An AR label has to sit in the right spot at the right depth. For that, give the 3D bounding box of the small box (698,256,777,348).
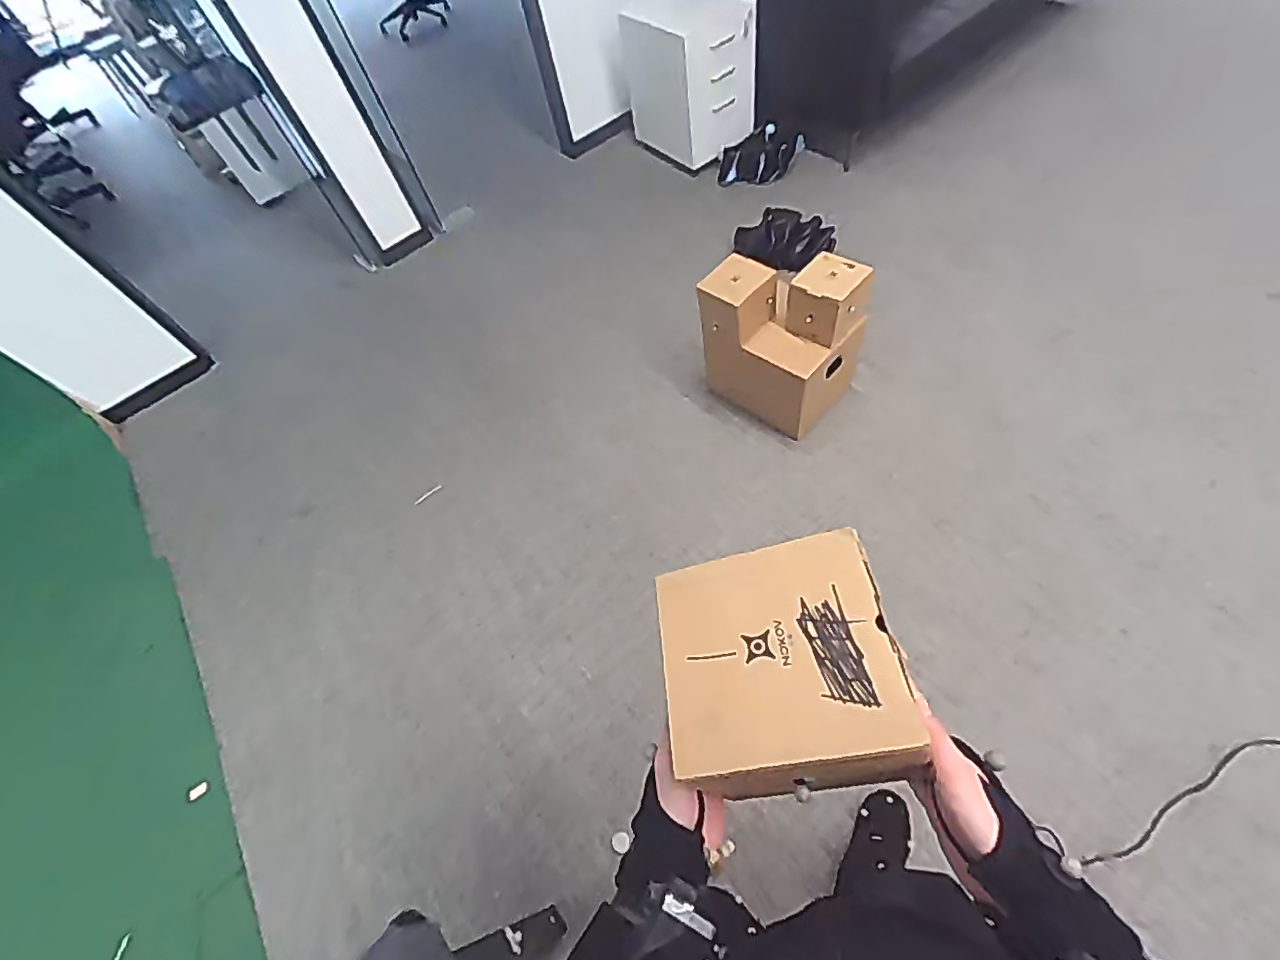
[{"bbox_3d":[0.301,-0.543,1.661,0.168,0.176,0.179,37,75,30],"label":"small box"}]

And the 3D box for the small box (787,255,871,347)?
[{"bbox_3d":[0.551,-0.524,1.595,0.168,0.176,0.179,34,69,28],"label":"small box"}]

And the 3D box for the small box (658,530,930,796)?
[{"bbox_3d":[0.131,0.170,0.474,0.179,0.176,0.168,-17,52,16],"label":"small box"}]
